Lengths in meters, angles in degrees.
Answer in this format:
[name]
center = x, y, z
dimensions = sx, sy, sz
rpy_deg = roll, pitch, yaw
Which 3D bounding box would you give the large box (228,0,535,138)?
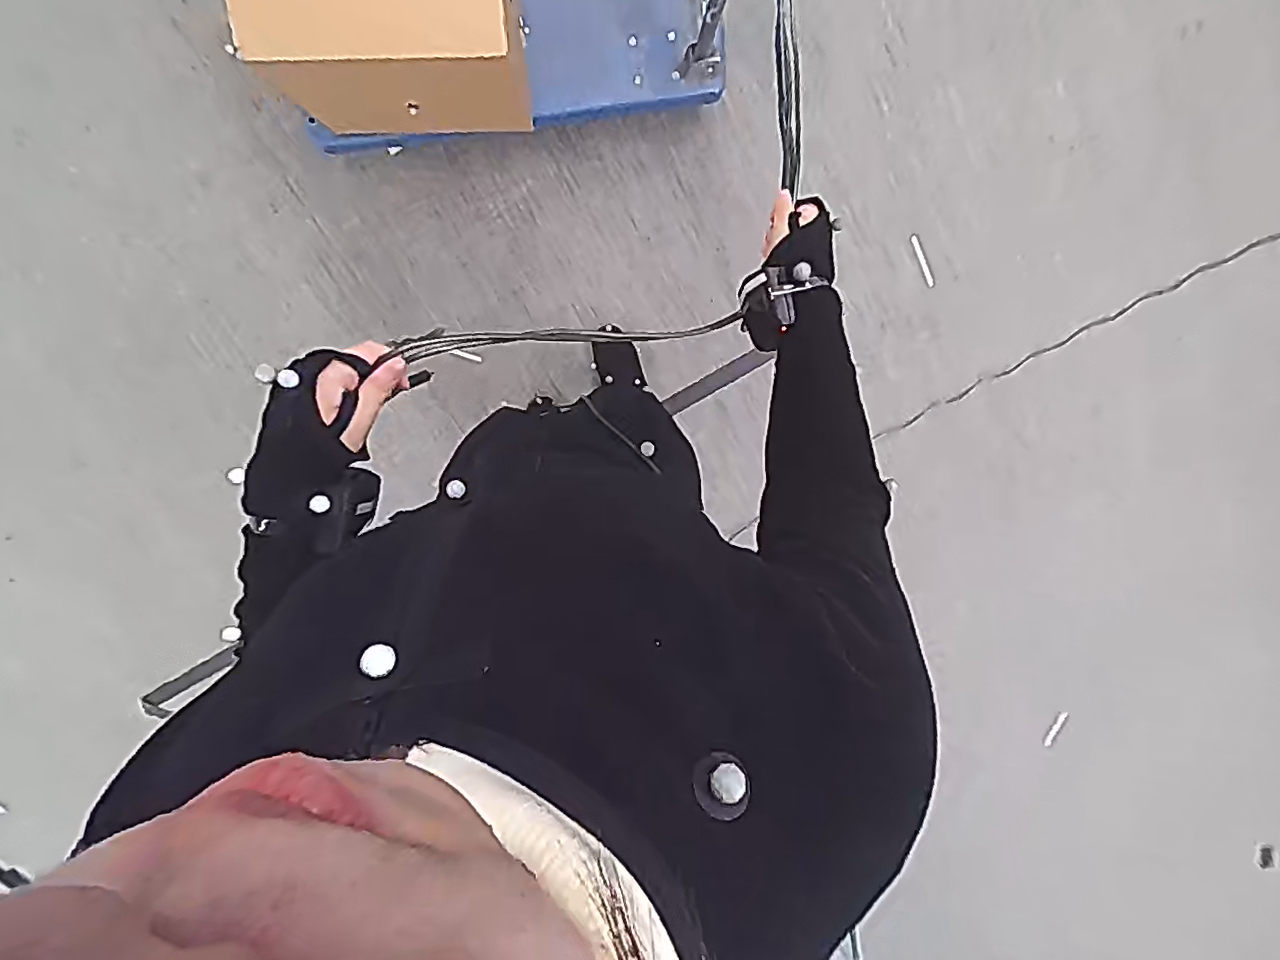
[large box]
center = -0.413, -0.813, 0.924
dimensions = 0.408, 0.320, 0.320
rpy_deg = -3, 104, -2
